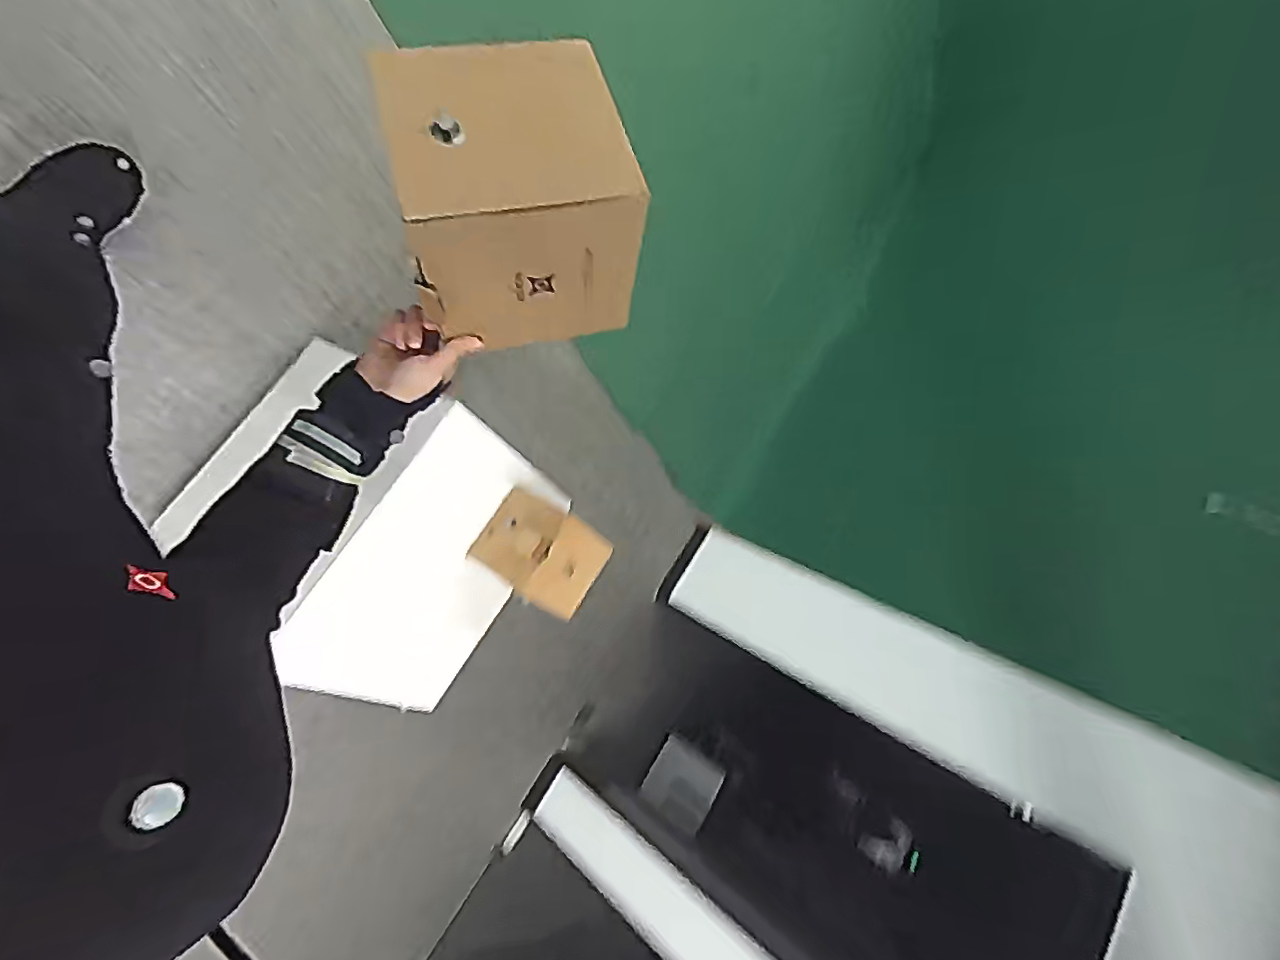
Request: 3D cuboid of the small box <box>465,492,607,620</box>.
[{"bbox_3d":[-0.203,0.146,1.065,0.168,0.176,0.179,-56,144,-12],"label":"small box"}]
